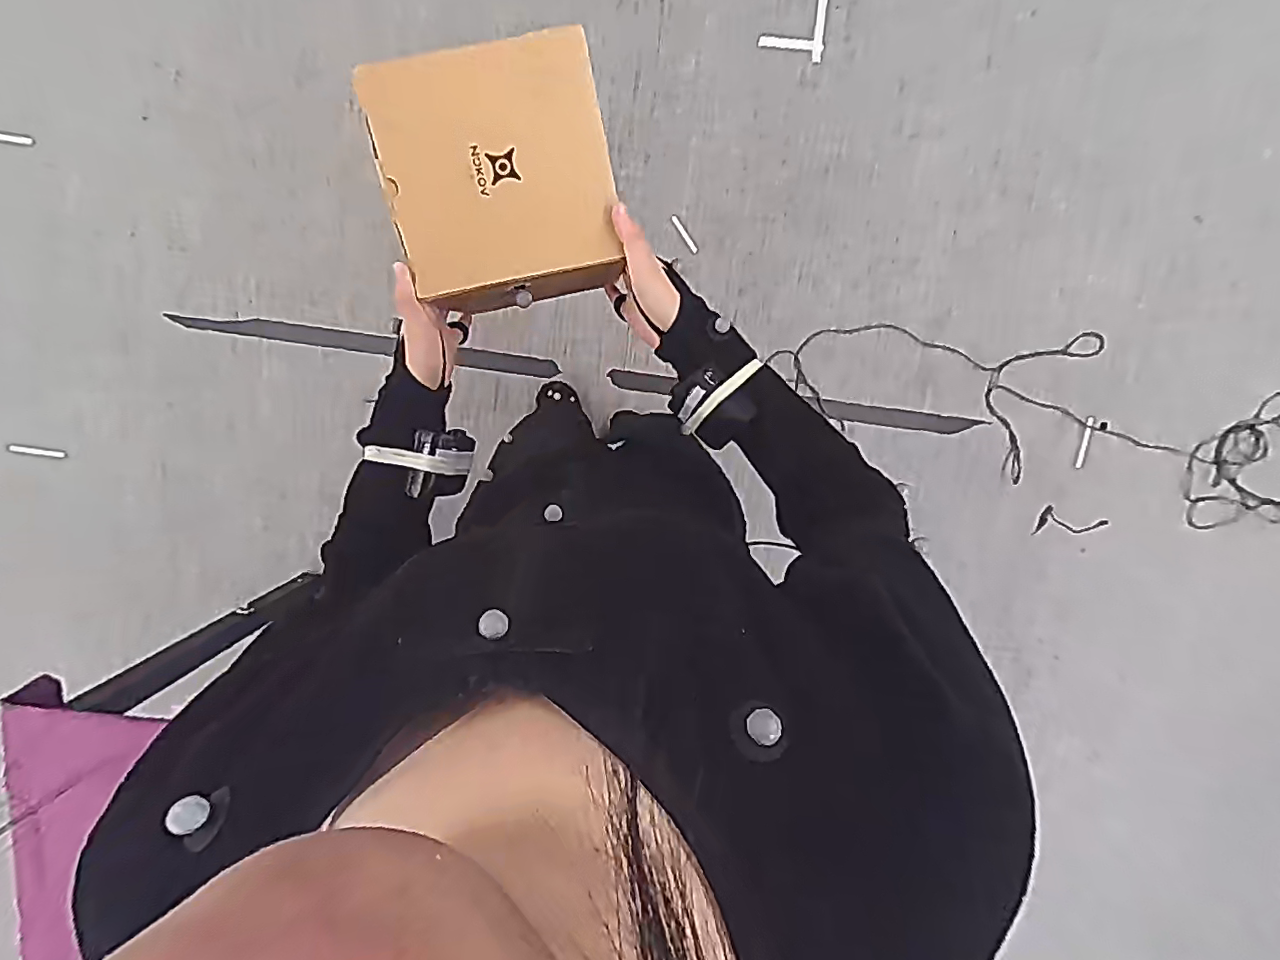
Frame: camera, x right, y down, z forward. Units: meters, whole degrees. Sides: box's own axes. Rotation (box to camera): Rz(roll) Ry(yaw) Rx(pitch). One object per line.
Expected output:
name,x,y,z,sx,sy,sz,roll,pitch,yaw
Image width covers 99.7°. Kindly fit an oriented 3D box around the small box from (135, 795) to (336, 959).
small box,-0.561,0.596,0.770,0.168,0.176,0.179,10,100,-2
